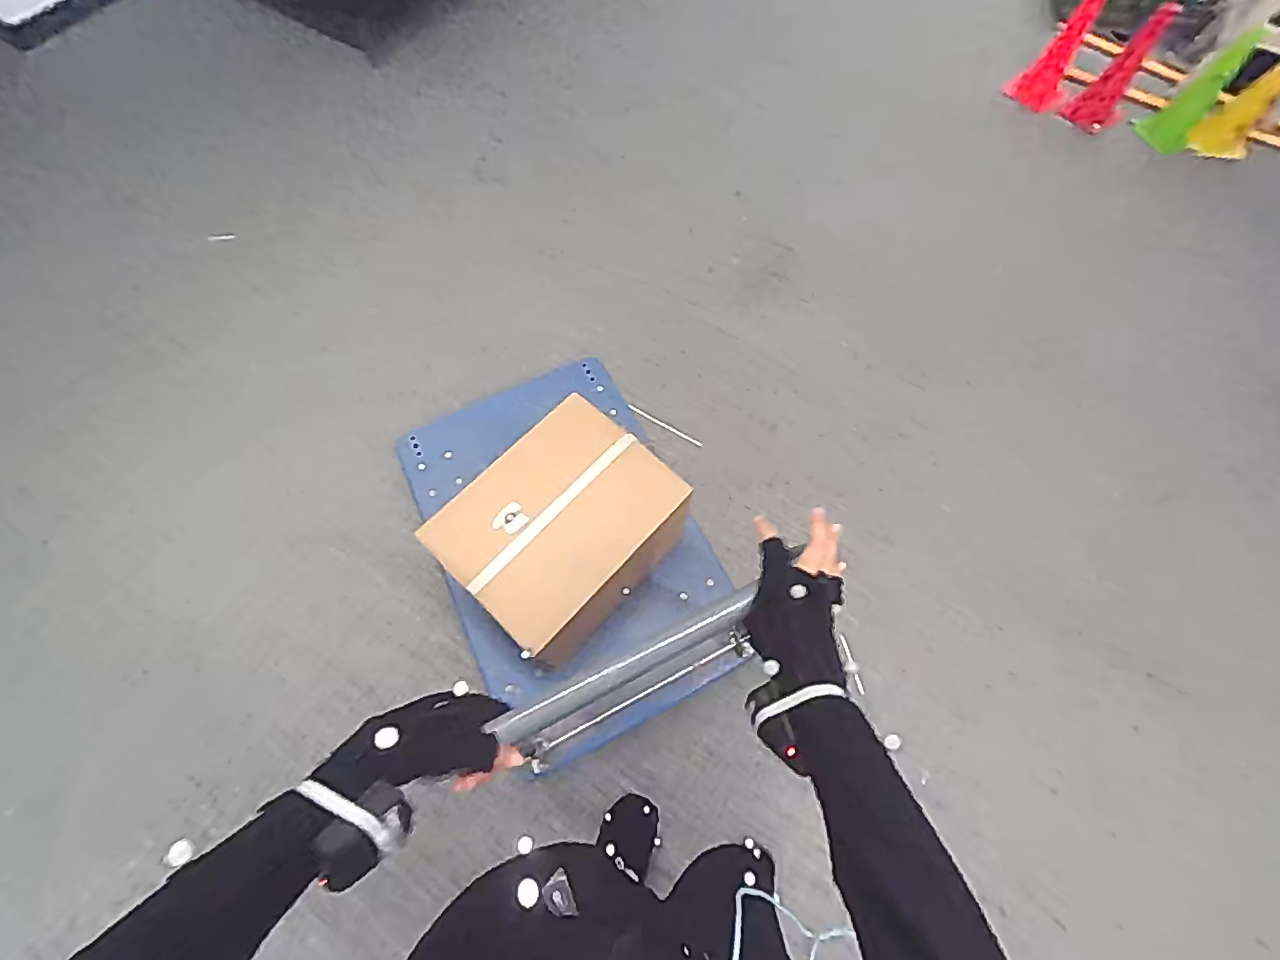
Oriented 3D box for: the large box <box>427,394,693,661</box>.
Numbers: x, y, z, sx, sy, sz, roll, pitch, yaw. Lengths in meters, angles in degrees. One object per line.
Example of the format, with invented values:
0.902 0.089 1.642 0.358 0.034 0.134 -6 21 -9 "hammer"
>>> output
-0.141 0.110 1.119 0.320 0.320 0.408 40 74 15 "large box"
